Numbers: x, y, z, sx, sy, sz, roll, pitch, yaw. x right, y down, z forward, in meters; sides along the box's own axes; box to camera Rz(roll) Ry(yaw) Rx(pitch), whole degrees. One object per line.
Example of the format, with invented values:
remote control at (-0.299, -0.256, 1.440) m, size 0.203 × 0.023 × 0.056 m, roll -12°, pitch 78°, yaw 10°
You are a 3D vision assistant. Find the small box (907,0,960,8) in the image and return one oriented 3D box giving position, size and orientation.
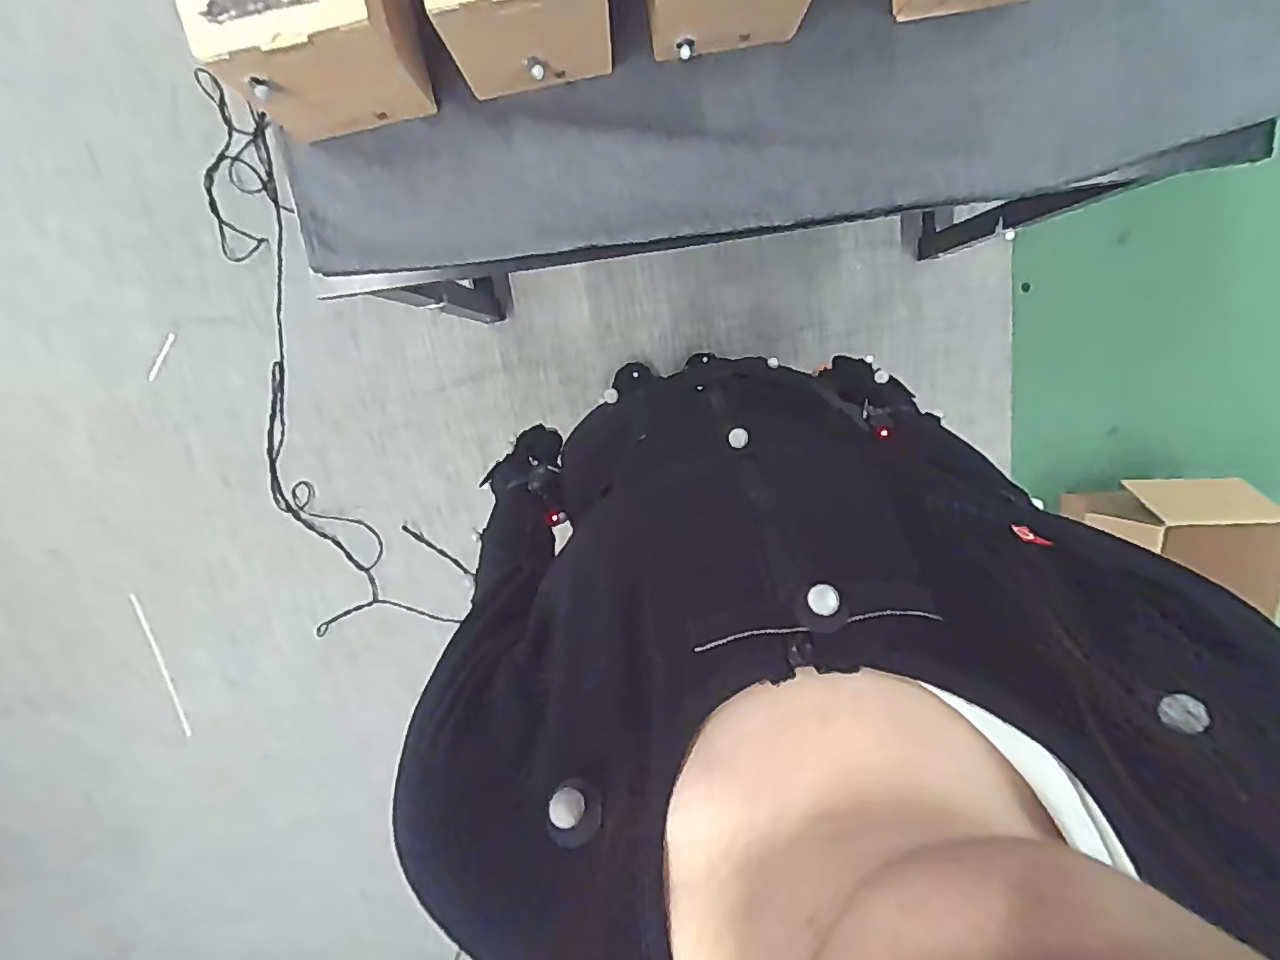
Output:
small box at (0.366, -0.621, 0.527) m, size 0.168 × 0.176 × 0.179 m, roll -9°, pitch 103°, yaw 2°
